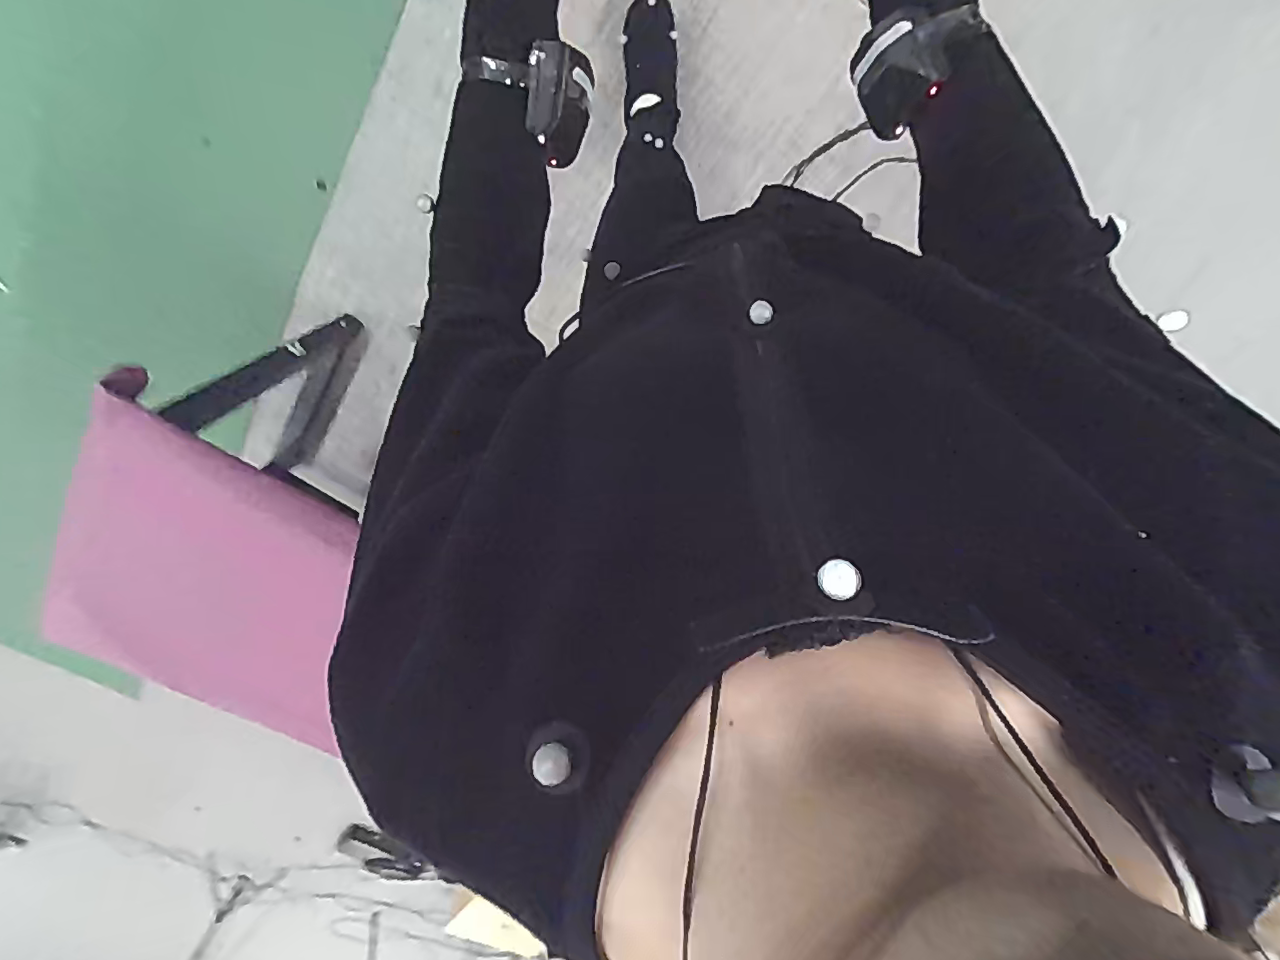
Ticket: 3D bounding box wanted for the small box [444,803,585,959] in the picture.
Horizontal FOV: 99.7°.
[{"bbox_3d":[-0.219,0.719,0.977,0.179,0.176,0.168,28,118,-13],"label":"small box"}]
